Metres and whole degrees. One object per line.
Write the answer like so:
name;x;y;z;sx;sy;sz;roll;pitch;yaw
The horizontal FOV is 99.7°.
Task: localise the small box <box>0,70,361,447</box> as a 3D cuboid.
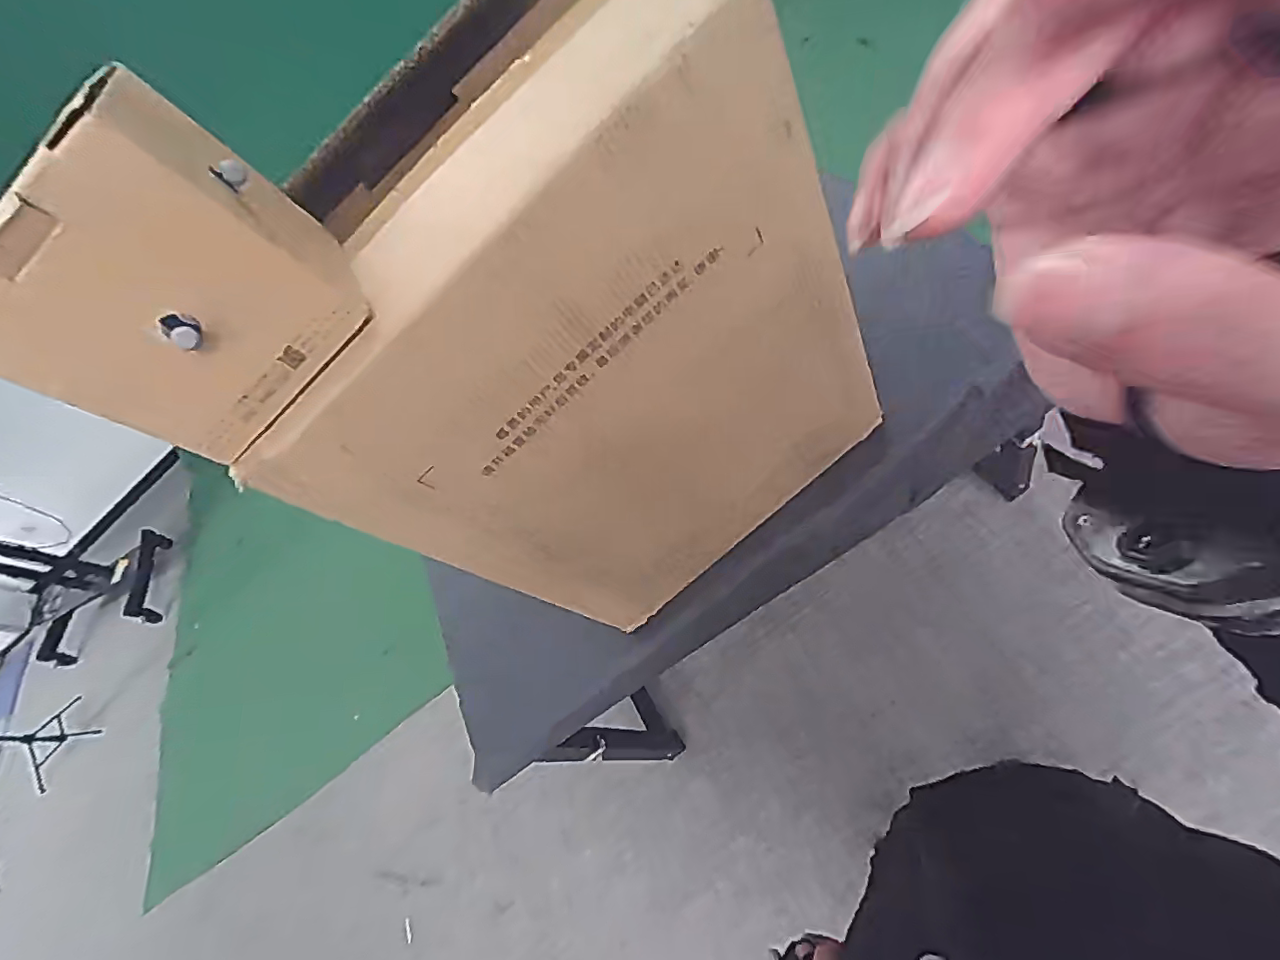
small box;-0.337;-0.147;0.399;0.168;0.176;0.179;-44;52;6
